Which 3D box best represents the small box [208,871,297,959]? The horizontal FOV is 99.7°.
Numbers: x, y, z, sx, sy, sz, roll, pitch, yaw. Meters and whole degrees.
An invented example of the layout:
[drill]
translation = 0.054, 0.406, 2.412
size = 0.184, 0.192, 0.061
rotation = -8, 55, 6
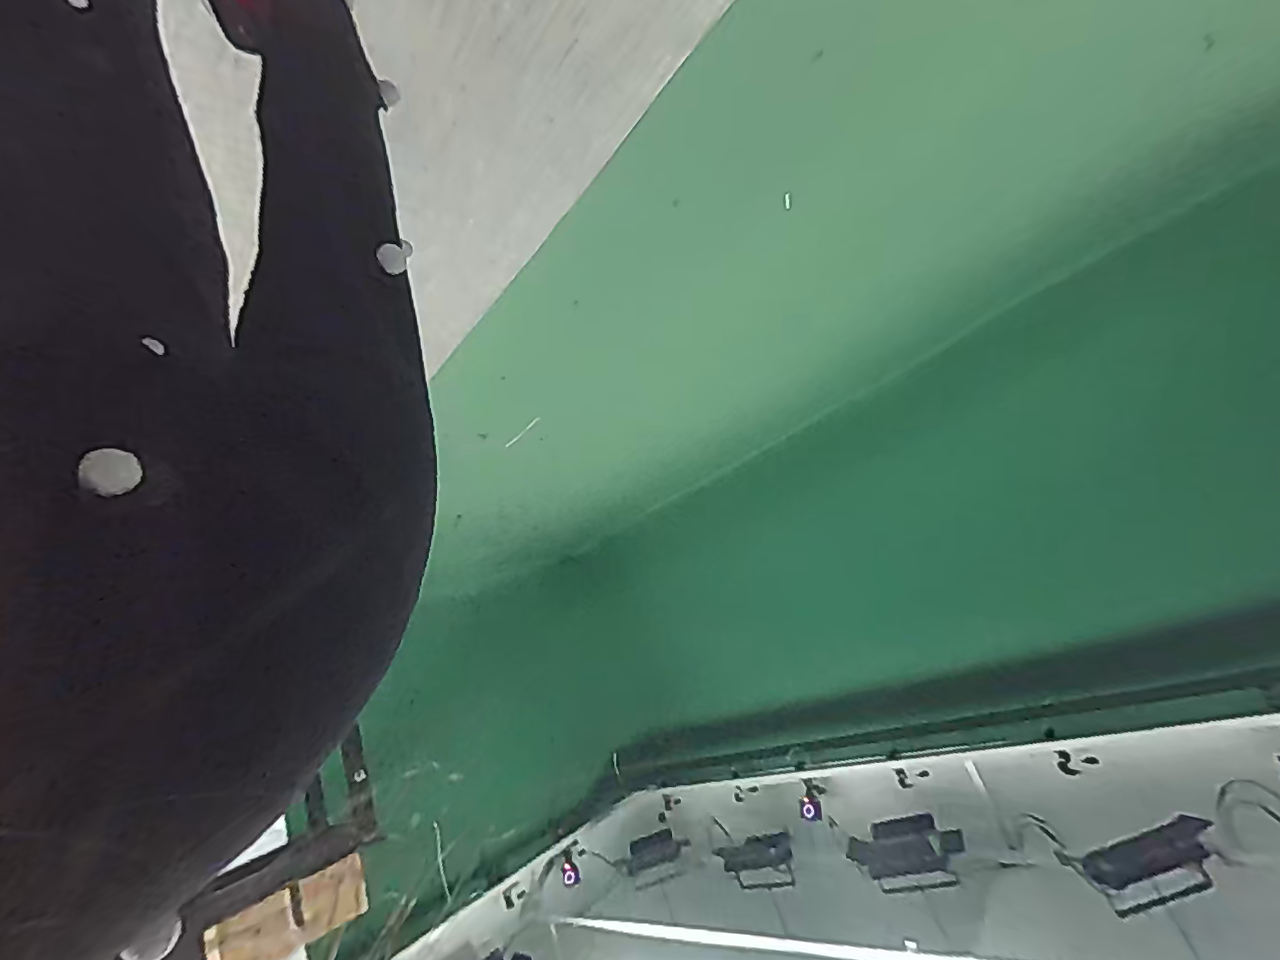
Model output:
[small box]
translation = -1.106, 1.246, 1.538
size = 0.179, 0.176, 0.168
rotation = -32, 161, 37
